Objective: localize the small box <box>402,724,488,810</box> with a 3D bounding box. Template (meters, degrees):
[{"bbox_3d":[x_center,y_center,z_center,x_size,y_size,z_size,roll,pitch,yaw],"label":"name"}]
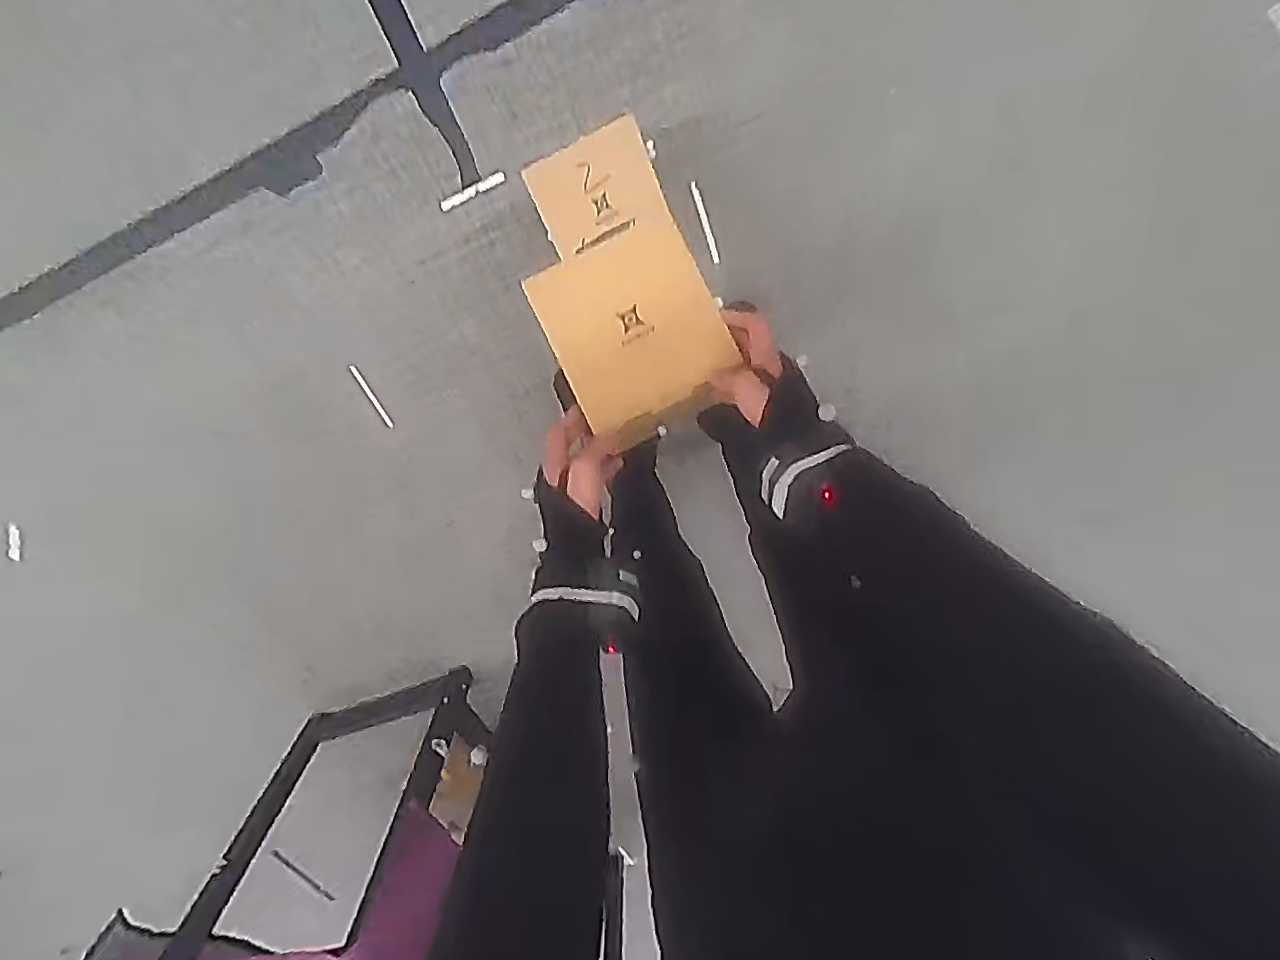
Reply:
[{"bbox_3d":[-0.608,0.895,1.703,0.168,0.176,0.179,-19,118,11],"label":"small box"}]

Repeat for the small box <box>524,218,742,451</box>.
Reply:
[{"bbox_3d":[-0.007,-0.146,0.611,0.168,0.176,0.179,-26,88,1],"label":"small box"}]

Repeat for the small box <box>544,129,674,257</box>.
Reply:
[{"bbox_3d":[-0.048,-0.478,0.948,0.168,0.176,0.179,-23,117,12],"label":"small box"}]
